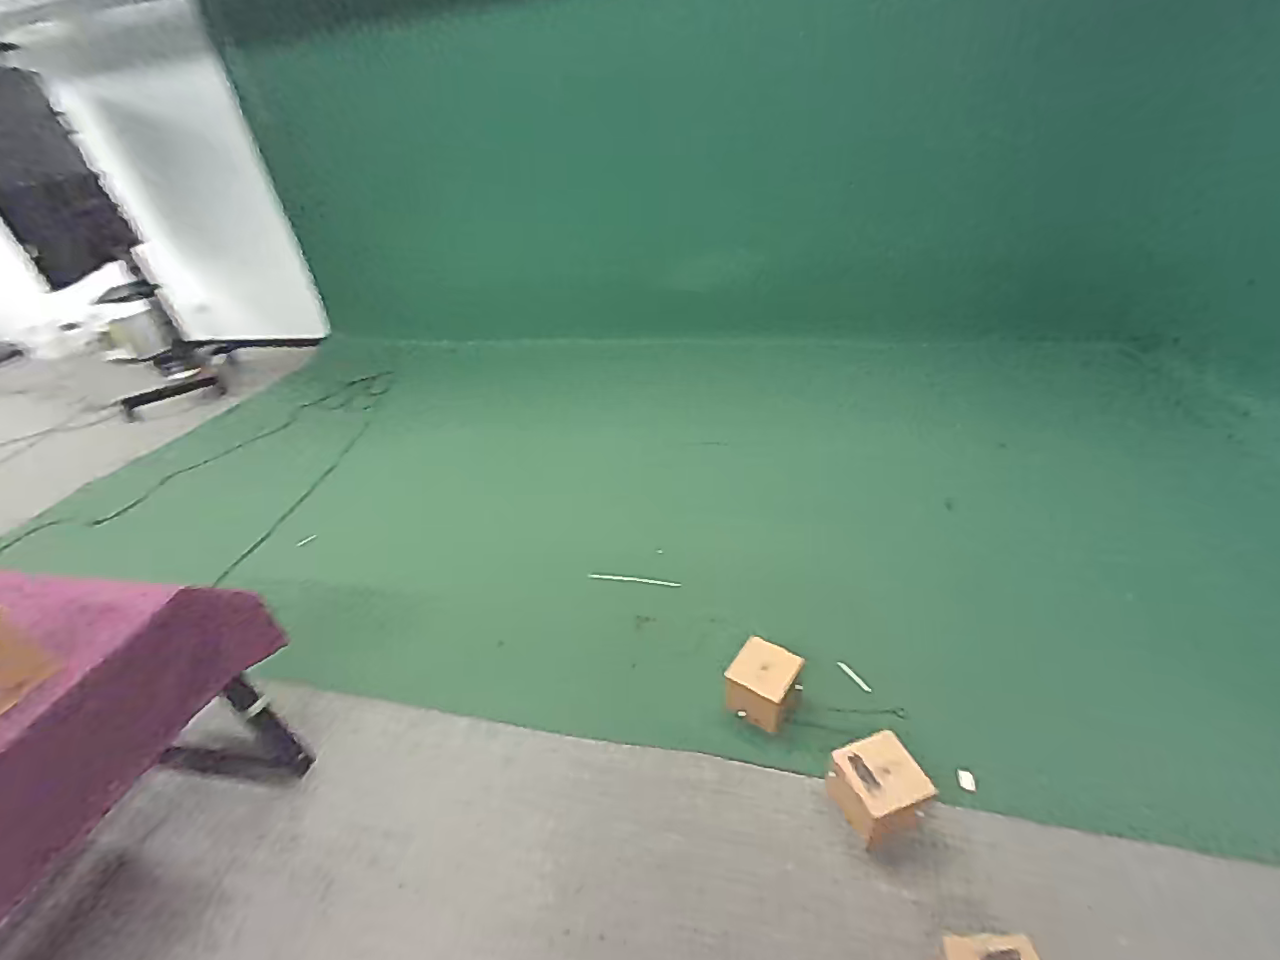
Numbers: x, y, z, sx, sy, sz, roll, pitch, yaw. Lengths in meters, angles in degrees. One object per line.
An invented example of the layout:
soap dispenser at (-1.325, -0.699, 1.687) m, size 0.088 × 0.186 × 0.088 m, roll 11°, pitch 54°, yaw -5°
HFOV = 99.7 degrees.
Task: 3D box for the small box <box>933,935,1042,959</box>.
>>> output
small box at (0.670, 0.989, 1.010) m, size 0.168 × 0.176 × 0.179 m, roll -4°, pitch 35°, yaw 5°

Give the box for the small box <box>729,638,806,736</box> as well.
small box at (0.377, 0.615, 1.612) m, size 0.168 × 0.176 × 0.179 m, roll 20°, pitch 42°, yaw 33°
